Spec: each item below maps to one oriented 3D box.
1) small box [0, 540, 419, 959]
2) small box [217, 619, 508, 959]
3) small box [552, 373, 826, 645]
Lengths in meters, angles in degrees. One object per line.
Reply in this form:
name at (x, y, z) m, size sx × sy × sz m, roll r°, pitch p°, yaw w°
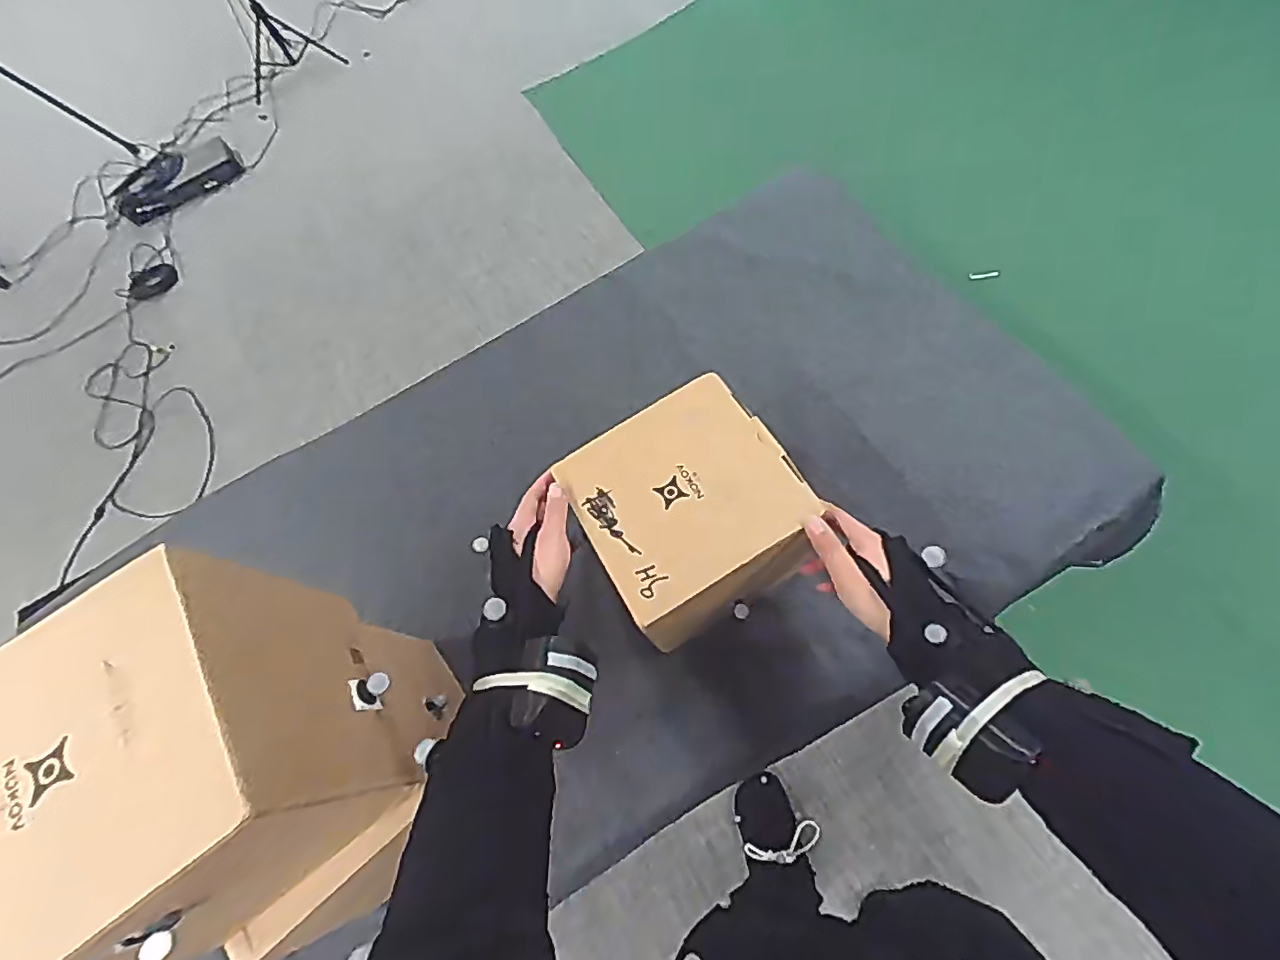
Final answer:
small box at (-0.278, 0.171, 0.334) m, size 0.179 × 0.176 × 0.168 m, roll -36°, pitch 67°, yaw -8°
small box at (-0.249, 0.248, 0.475) m, size 0.168 × 0.176 × 0.179 m, roll -41°, pitch 67°, yaw -9°
small box at (0.045, 0.038, 0.520) m, size 0.179 × 0.176 × 0.168 m, roll -32°, pitch 66°, yaw -4°
